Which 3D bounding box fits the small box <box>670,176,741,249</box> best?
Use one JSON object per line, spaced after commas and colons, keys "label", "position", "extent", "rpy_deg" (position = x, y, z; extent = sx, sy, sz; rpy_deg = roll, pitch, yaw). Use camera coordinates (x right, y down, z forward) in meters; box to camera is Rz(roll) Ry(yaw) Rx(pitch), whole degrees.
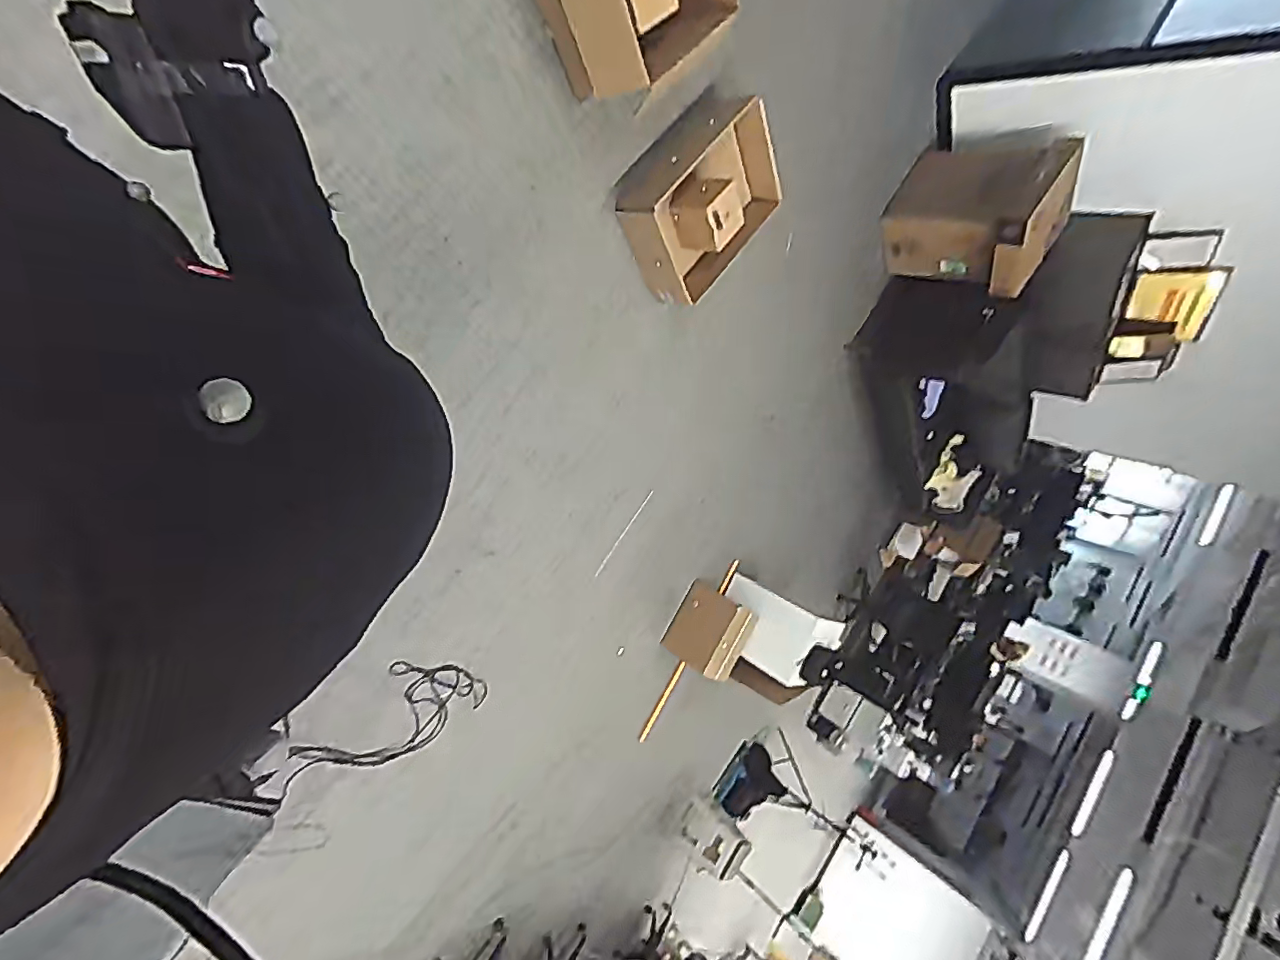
{"label": "small box", "position": [0.225, -0.940, 1.903], "extent": [0.179, 0.176, 0.168], "rpy_deg": [-52, 141, -17]}
